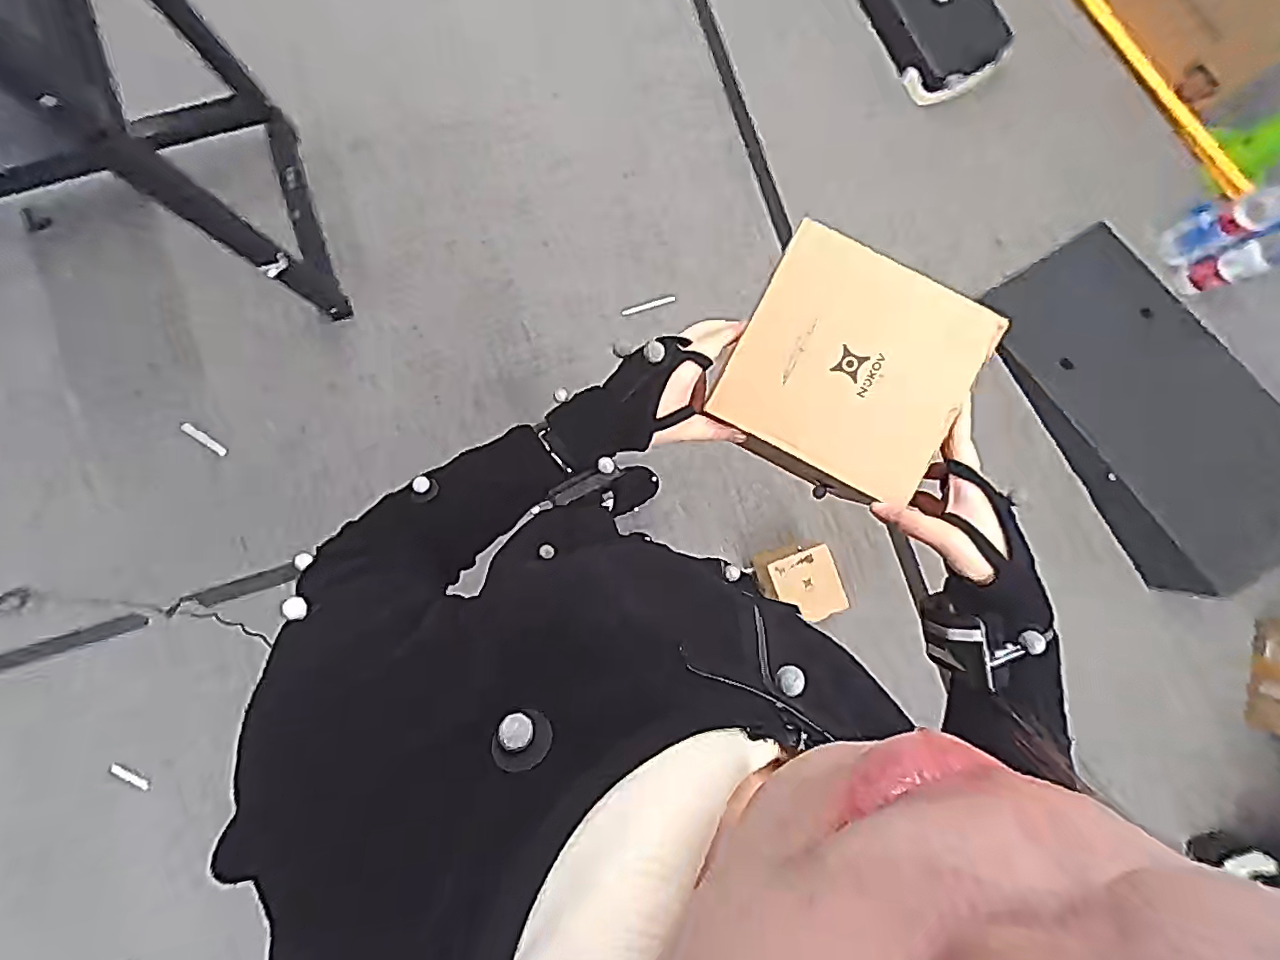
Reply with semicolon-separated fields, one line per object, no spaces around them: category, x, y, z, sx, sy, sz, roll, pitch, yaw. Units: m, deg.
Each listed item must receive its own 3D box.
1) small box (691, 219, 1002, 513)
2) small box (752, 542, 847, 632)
small box;0.159;-0.089;0.483;0.179;0.176;0.168;27;93;1
small box;0.415;0.276;1.432;0.168;0.176;0.179;-19;89;-4
